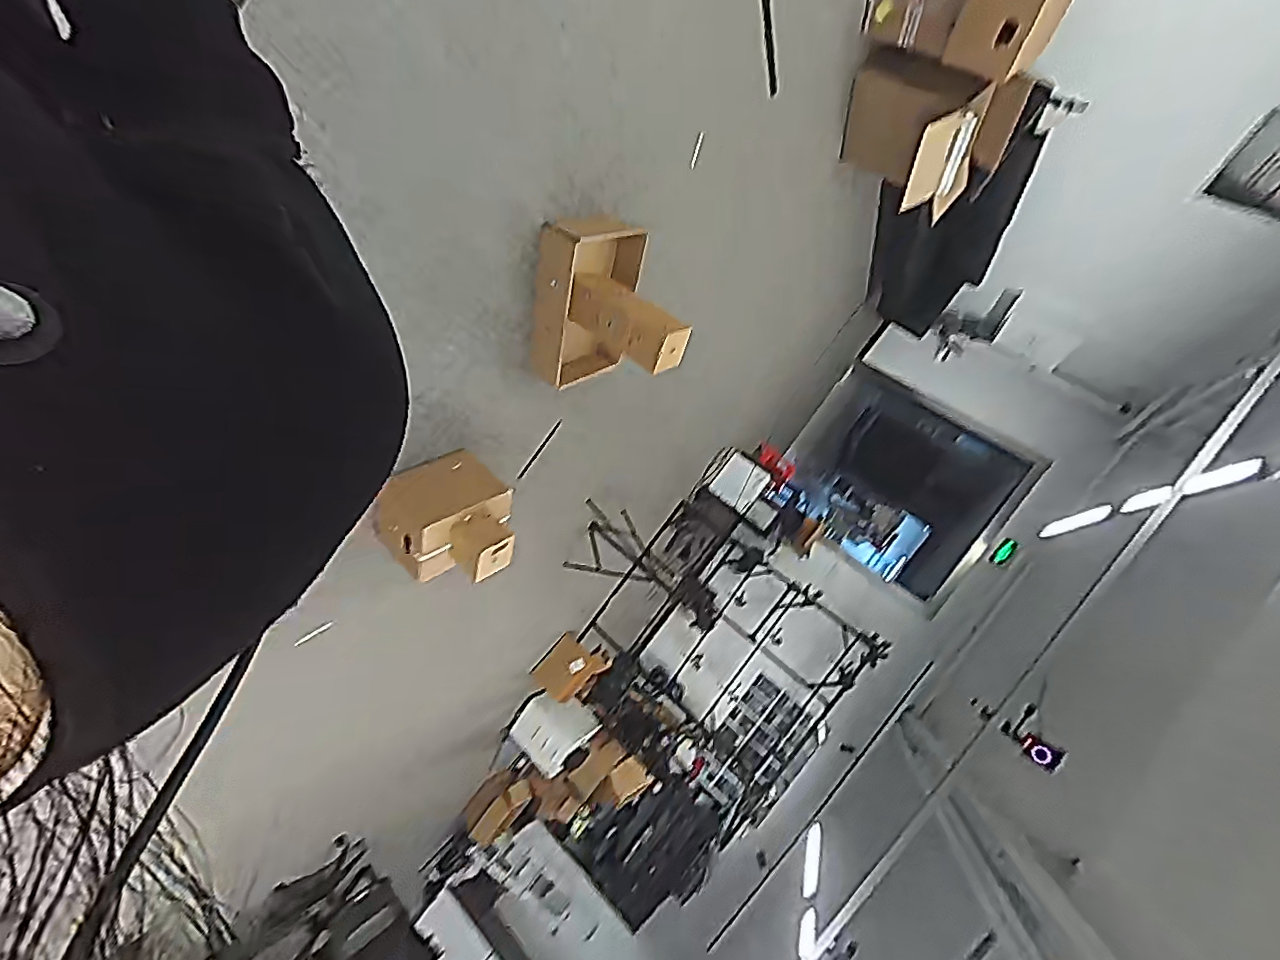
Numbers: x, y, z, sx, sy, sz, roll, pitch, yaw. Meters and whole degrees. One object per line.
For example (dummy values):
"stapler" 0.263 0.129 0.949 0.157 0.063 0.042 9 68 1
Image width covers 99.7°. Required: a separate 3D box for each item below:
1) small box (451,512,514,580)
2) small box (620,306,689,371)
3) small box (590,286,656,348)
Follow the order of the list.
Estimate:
"small box" -0.612 0.244 2.089 0.168 0.176 0.179 -28 148 -45
"small box" 0.054 -0.547 2.066 0.179 0.176 0.168 -31 151 -44
"small box" -0.071 -0.640 2.115 0.179 0.176 0.168 -30 150 -45
